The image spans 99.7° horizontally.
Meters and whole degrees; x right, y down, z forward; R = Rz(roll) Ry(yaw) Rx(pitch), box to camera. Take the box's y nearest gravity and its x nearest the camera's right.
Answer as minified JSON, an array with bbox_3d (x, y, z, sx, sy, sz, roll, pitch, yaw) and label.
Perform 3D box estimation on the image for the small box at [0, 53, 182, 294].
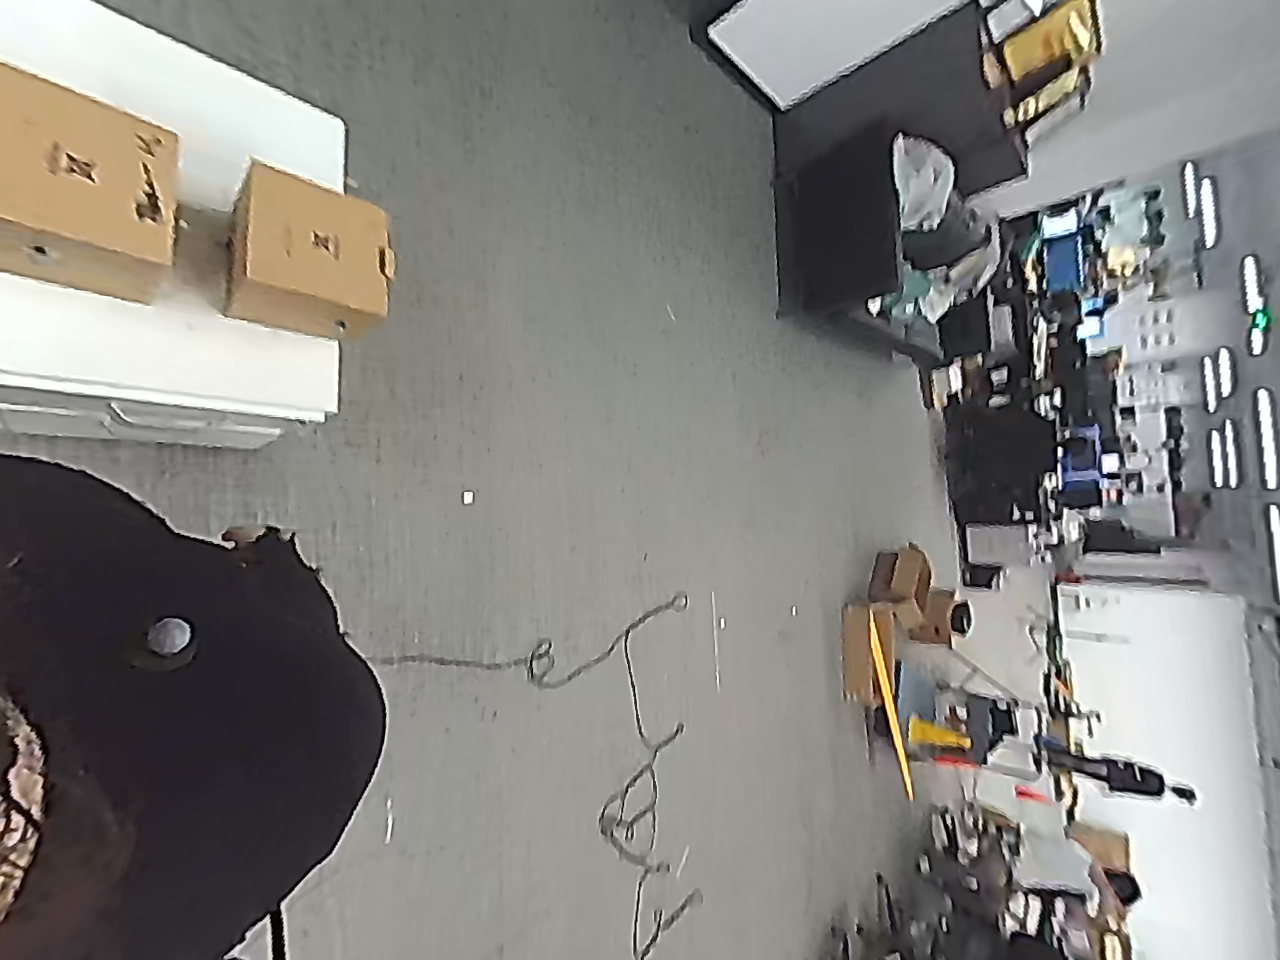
[{"bbox_3d":[-0.658,-0.334,0.621,0.179,0.176,0.168,6,83,-47],"label":"small box"}]

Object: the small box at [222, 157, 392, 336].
[{"bbox_3d":[-0.492,-0.326,0.802,0.179,0.176,0.168,5,82,-45],"label":"small box"}]
